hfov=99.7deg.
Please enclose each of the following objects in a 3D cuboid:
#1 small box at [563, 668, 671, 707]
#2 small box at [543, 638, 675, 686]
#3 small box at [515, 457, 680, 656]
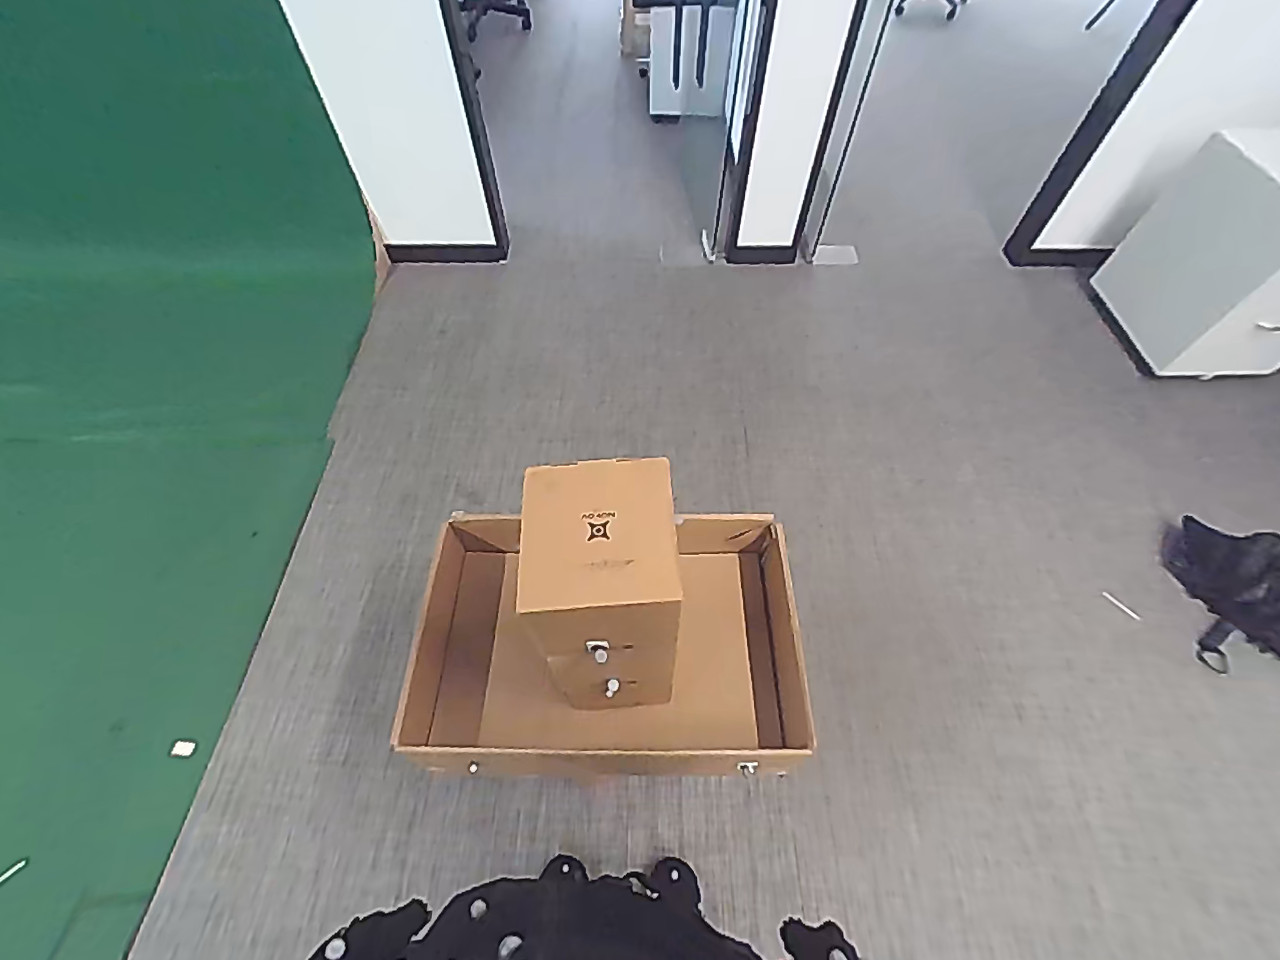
[{"bbox_3d":[-0.038,0.271,0.918,0.168,0.176,0.179,-5,56,-1],"label":"small box"},{"bbox_3d":[-0.043,0.184,0.780,0.168,0.176,0.179,-4,57,-2],"label":"small box"},{"bbox_3d":[-0.045,0.095,0.645,0.168,0.176,0.179,-5,57,-1],"label":"small box"}]
